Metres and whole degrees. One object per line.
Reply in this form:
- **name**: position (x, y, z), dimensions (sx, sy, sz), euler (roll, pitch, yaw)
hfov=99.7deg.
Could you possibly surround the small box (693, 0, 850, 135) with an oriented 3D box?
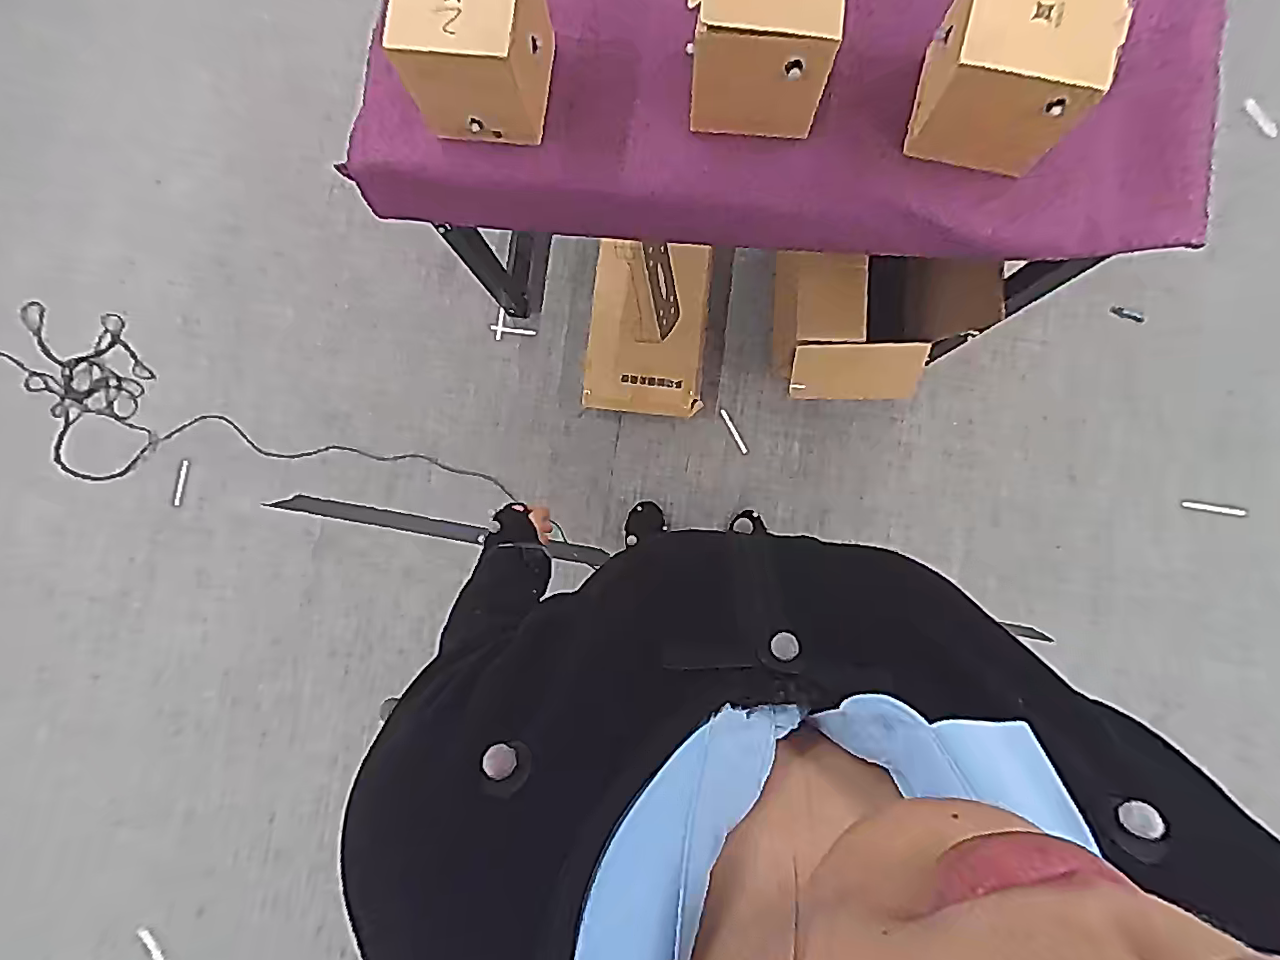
- **small box**: position (0.169, -0.600, 0.728), dimensions (0.179, 0.176, 0.168), euler (6, 85, 4)

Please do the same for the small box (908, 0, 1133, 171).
- **small box**: position (0.481, -0.540, 0.706), dimensions (0.179, 0.176, 0.168), euler (14, 87, 4)
